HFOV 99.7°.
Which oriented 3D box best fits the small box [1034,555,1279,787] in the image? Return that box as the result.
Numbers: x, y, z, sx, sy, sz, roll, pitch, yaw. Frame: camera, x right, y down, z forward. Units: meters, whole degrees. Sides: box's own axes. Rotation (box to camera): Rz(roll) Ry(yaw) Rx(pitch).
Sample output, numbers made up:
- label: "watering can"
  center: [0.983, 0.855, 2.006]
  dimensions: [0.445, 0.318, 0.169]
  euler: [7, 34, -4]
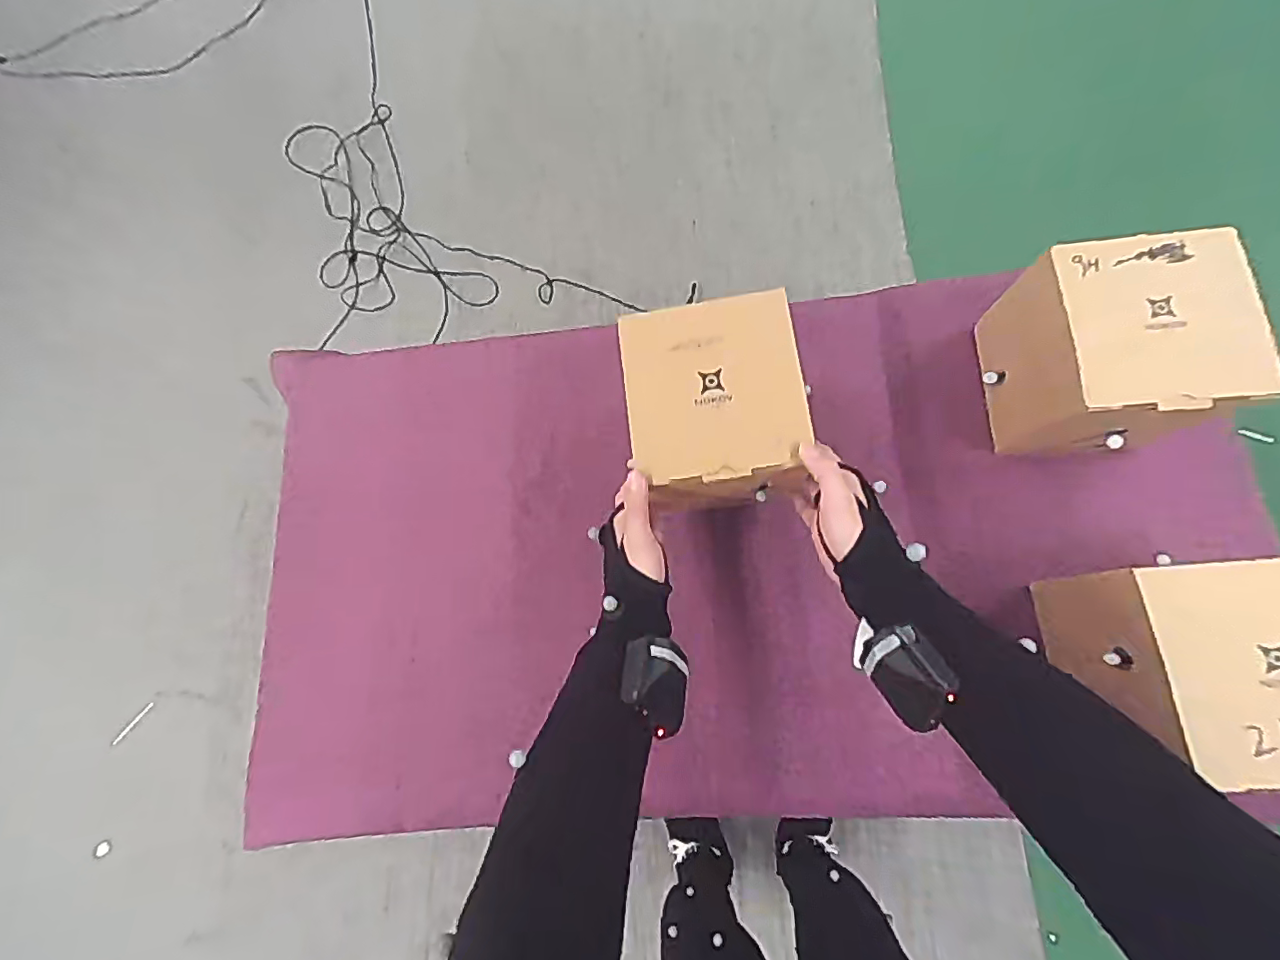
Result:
- label: "small box"
  center: [0.514, 0.171, 0.509]
  dimensions: [0.168, 0.176, 0.179]
  euler: [-5, 75, 8]

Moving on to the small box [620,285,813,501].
- label: "small box"
  center: [0.078, -0.077, 0.584]
  dimensions: [0.168, 0.176, 0.179]
  euler: [-7, 76, 6]
